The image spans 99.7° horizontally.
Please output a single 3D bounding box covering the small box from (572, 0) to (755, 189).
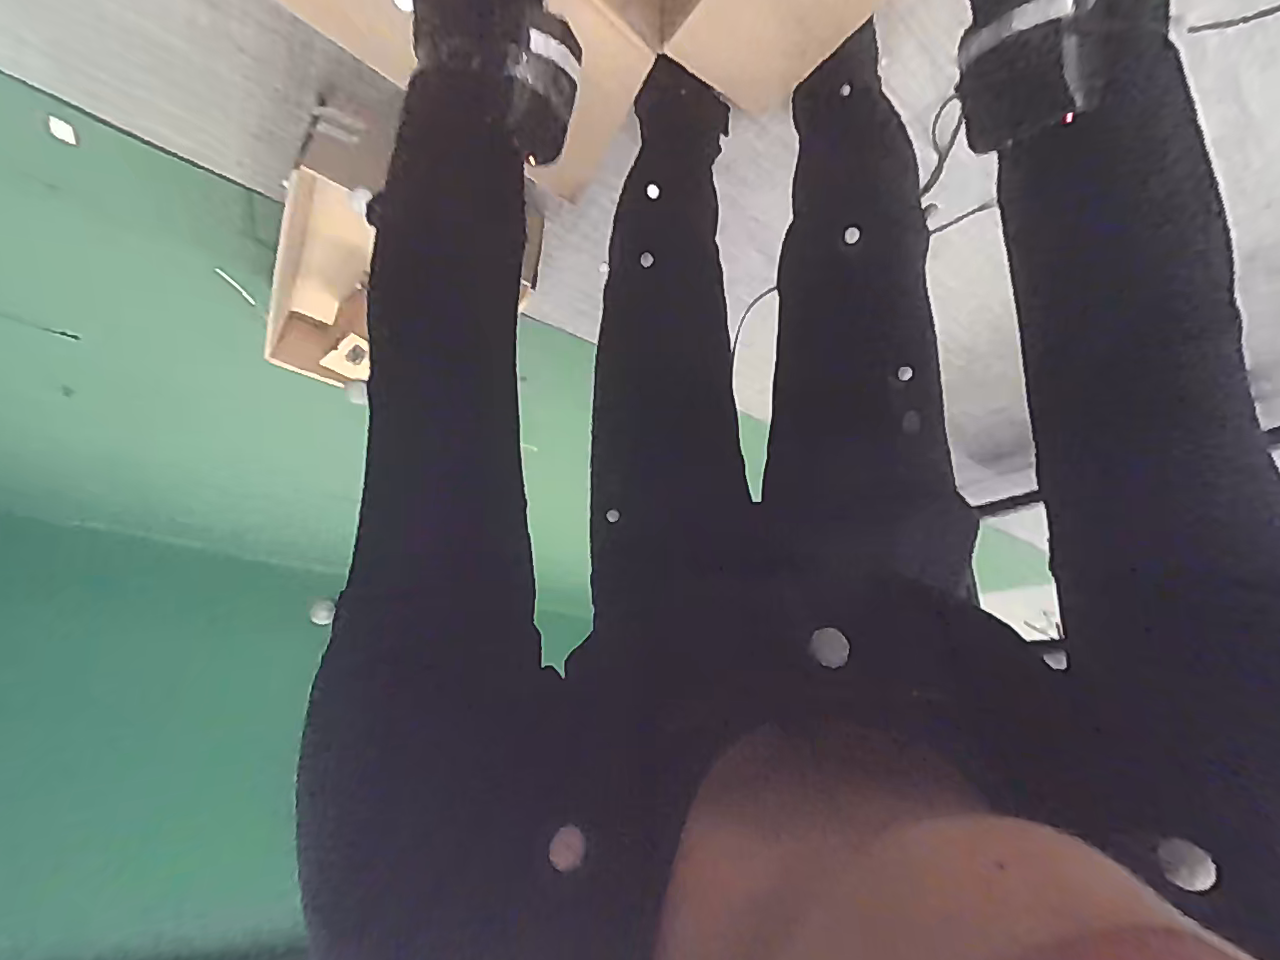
[{"bbox_3d":[0.032,-0.536,0.752,0.176,0.168,0.179,-10,138,-35],"label":"small box"}]

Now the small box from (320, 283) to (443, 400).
[{"bbox_3d":[-0.578,-0.315,1.221,0.168,0.176,0.179,-18,147,36],"label":"small box"}]
